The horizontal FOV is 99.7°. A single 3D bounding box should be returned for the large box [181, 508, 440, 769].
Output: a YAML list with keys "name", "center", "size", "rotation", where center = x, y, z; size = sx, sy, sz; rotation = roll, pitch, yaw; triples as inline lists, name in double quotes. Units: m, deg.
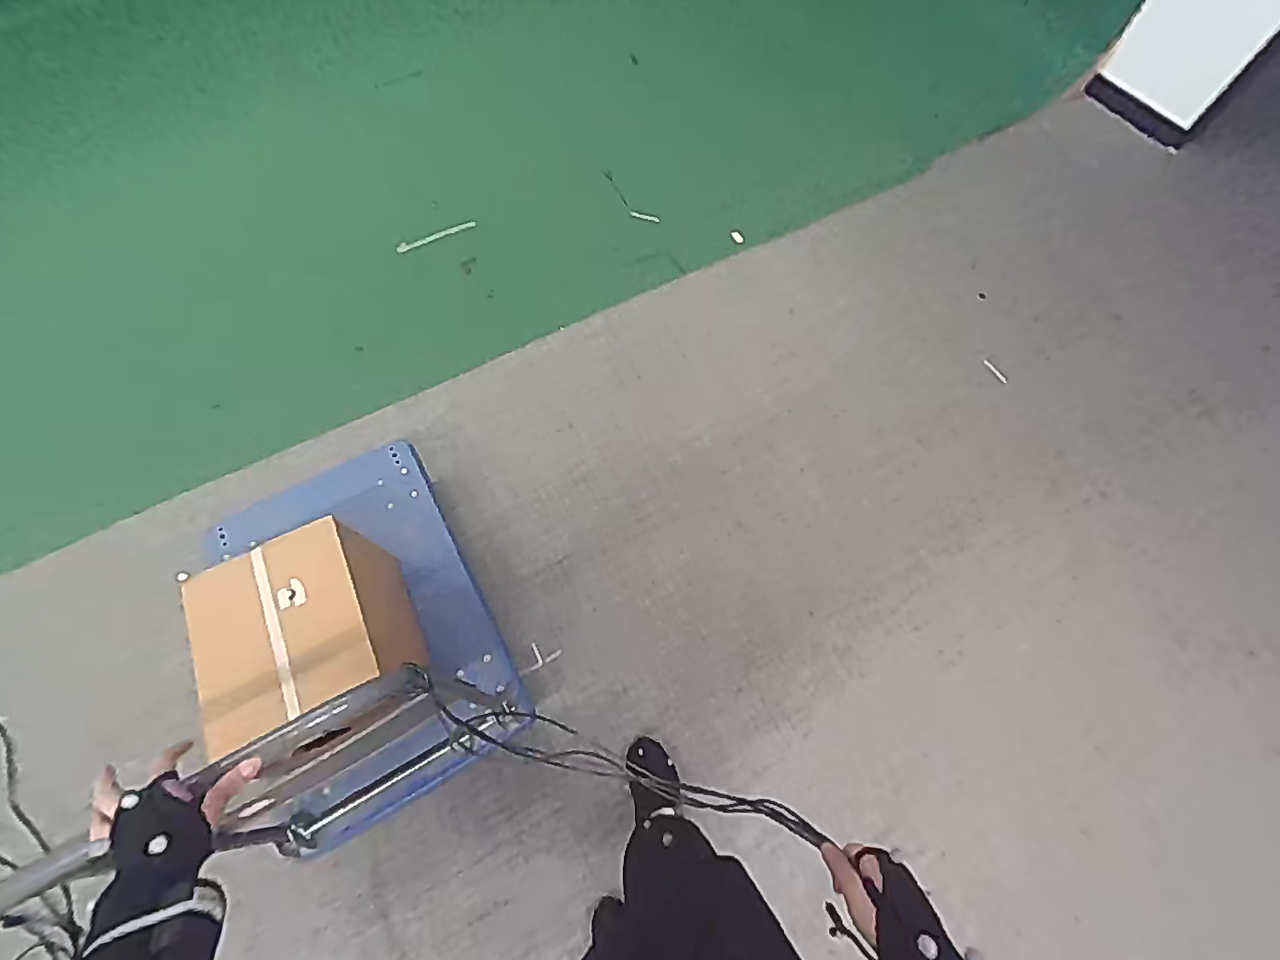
- name: "large box"
  center: [-0.688, 0.341, 1.167]
  size: [0.320, 0.320, 0.408]
  rotation: [-25, 67, -10]
